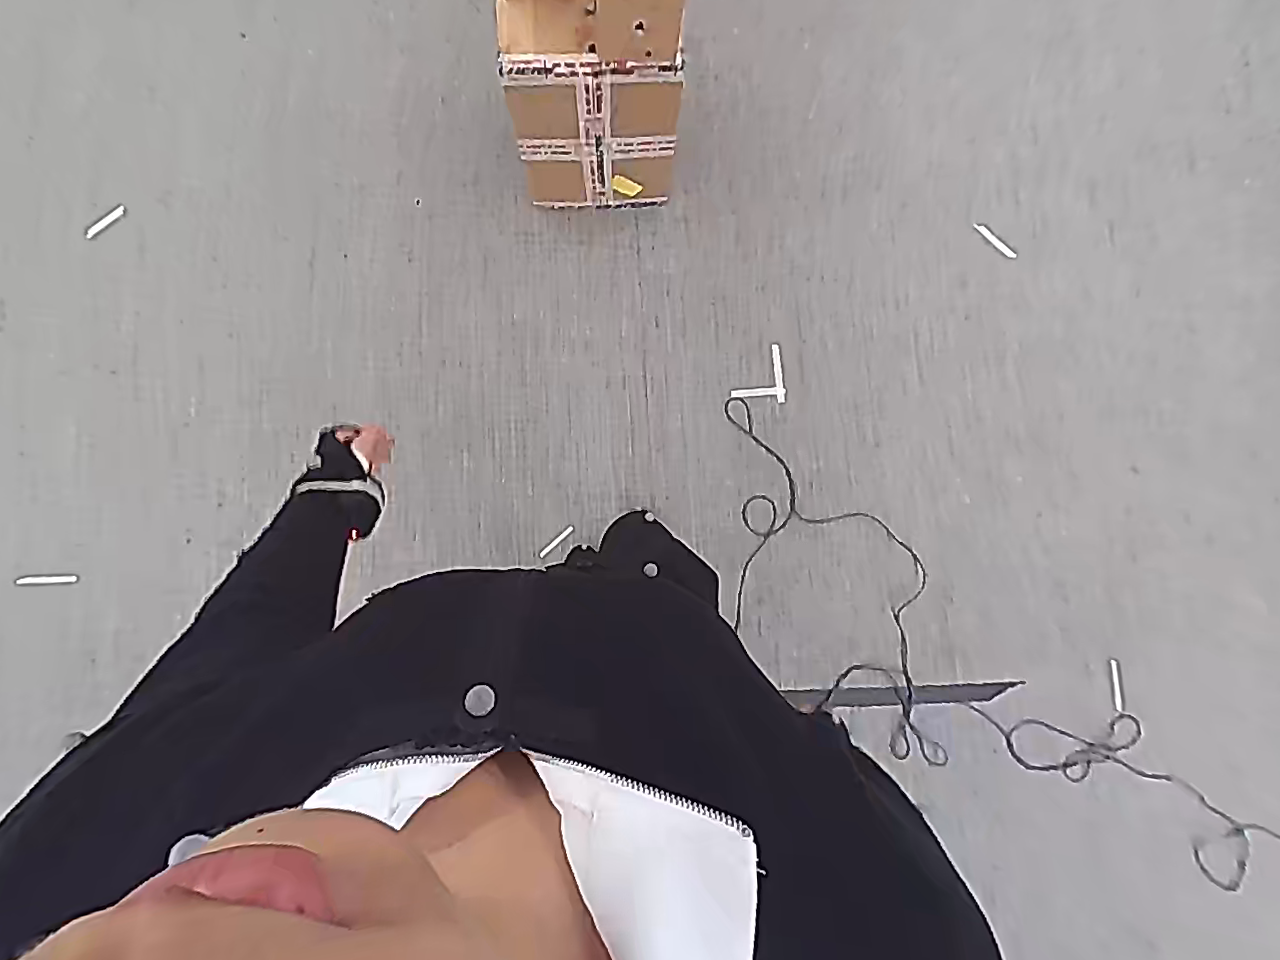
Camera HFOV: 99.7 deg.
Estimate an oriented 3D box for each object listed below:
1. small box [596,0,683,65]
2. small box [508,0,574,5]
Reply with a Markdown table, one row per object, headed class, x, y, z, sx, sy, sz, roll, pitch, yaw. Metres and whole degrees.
| class | x | y | z | sx | sy | sz | roll | pitch | yaw |
| --- | --- | --- | --- | --- | --- | --- | --- | --- | --- |
| small box | -0.004 | -0.953 | 1.055 | 0.168 | 0.176 | 0.179 | -2 | 86 | -4 |
| small box | -0.211 | -1.094 | 1.061 | 0.168 | 0.176 | 0.179 | -6 | 87 | -1 |
